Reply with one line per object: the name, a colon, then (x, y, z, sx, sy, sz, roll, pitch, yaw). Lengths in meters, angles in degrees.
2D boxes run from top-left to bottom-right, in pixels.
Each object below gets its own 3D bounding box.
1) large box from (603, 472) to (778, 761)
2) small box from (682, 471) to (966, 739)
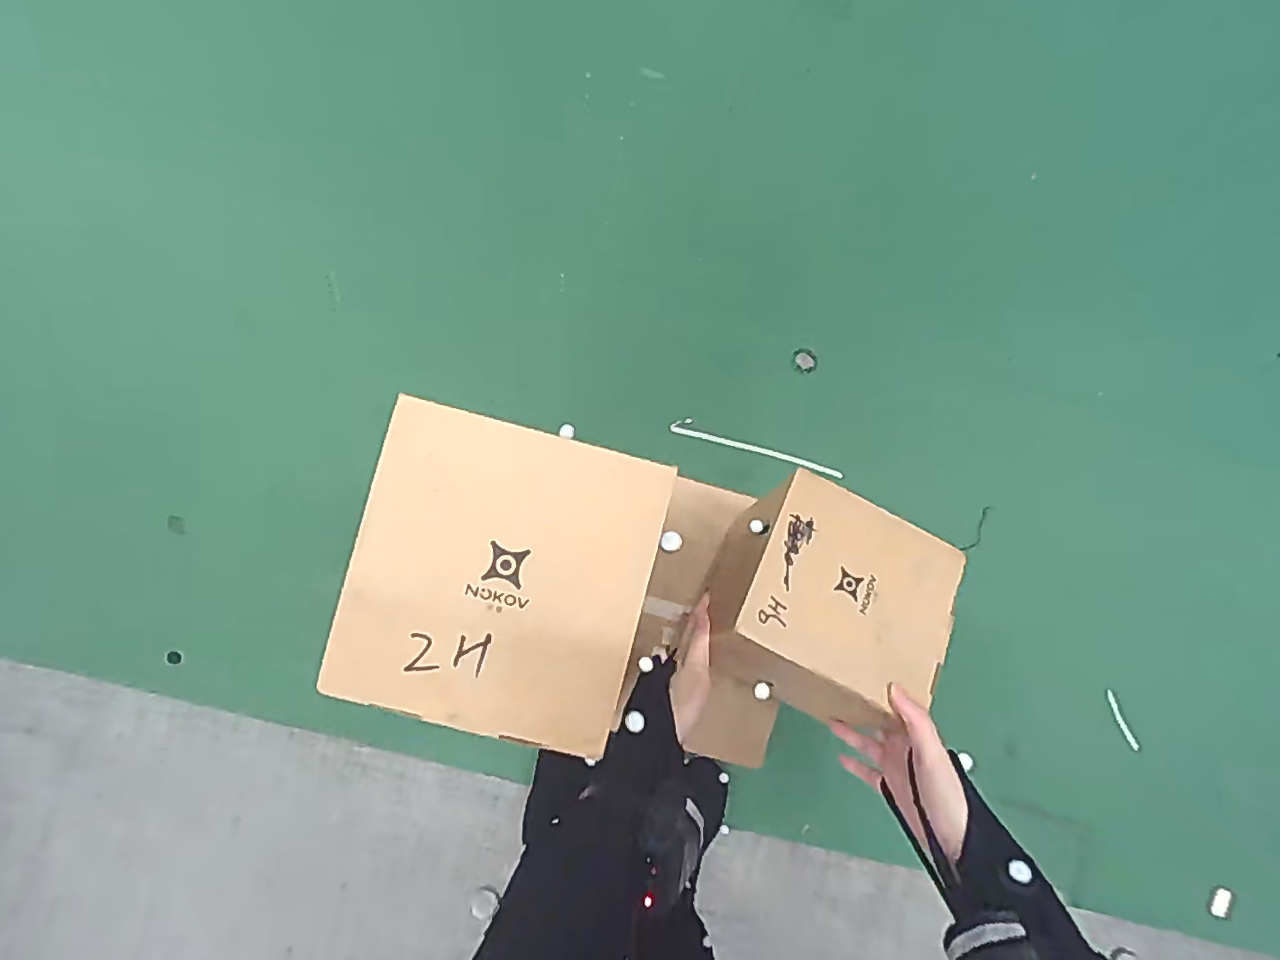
large box: (-0.014, 0.143, 0.786, 0.408, 0.320, 0.320, 16, 88, -2)
small box: (0.166, 0.123, 0.526, 0.179, 0.176, 0.168, 29, 66, 0)
